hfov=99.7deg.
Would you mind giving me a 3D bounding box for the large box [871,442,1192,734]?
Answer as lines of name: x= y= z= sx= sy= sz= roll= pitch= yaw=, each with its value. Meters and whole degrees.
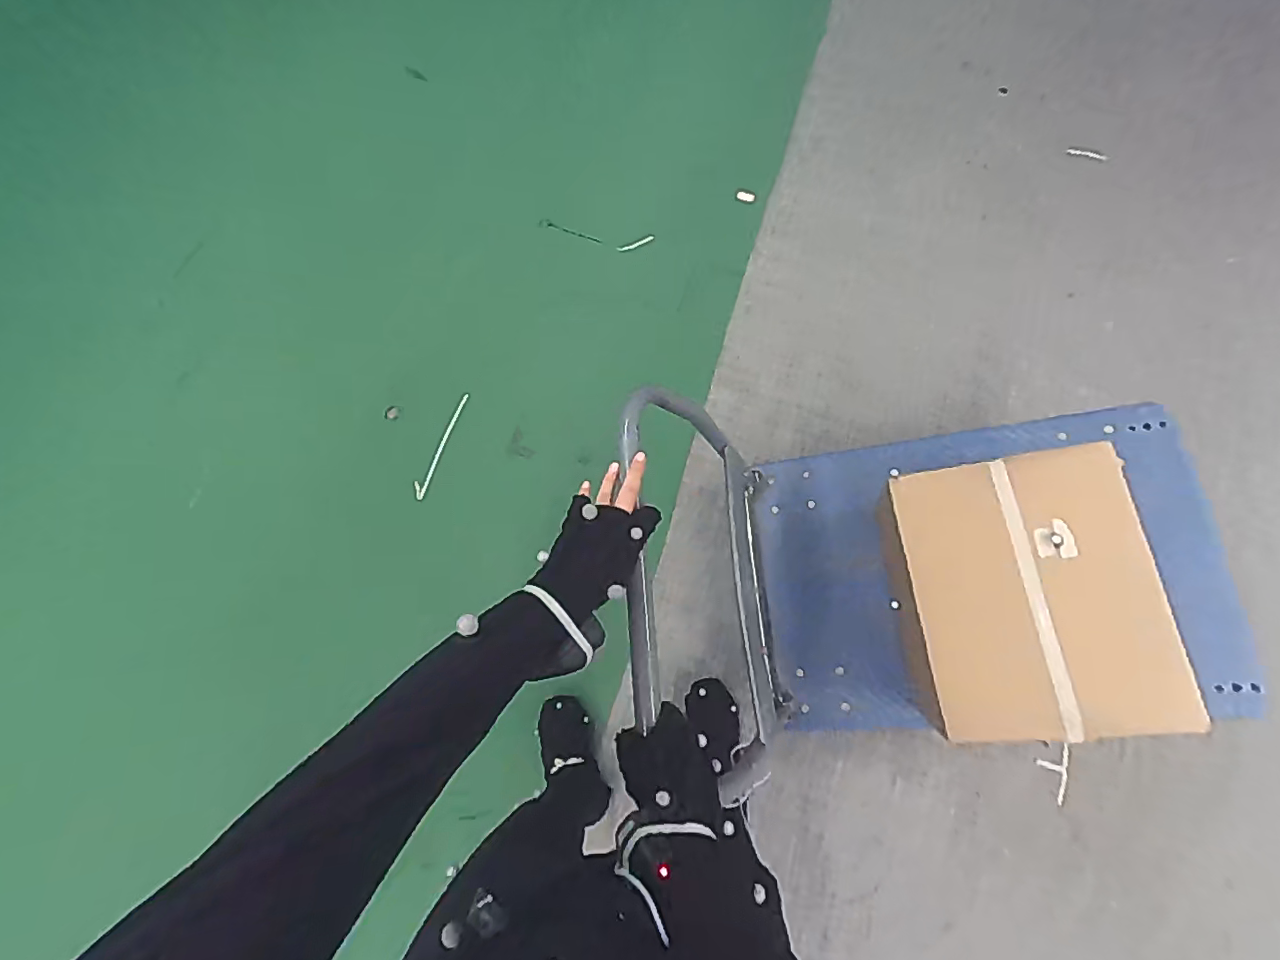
large box: x=0.613 y=0.194 z=0.943 sx=0.320 sy=0.320 sz=0.408 roll=-11 pitch=73 yaw=17
